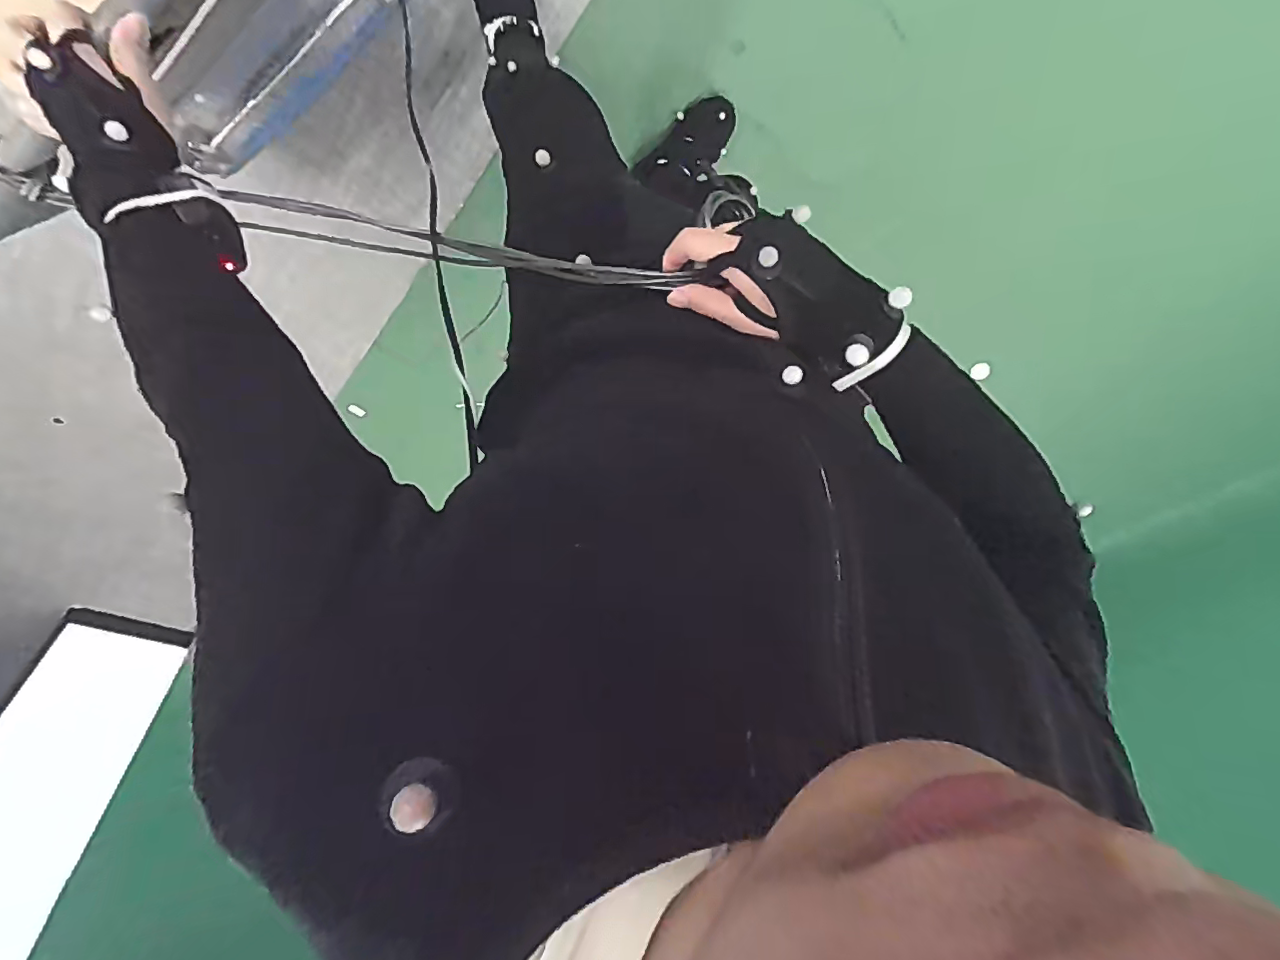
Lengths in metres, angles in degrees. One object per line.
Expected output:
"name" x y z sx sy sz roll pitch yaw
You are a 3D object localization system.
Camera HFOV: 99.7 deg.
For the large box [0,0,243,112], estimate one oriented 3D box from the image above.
"large box" -0.790 -0.790 0.687 0.320 0.320 0.408 -23 133 17
